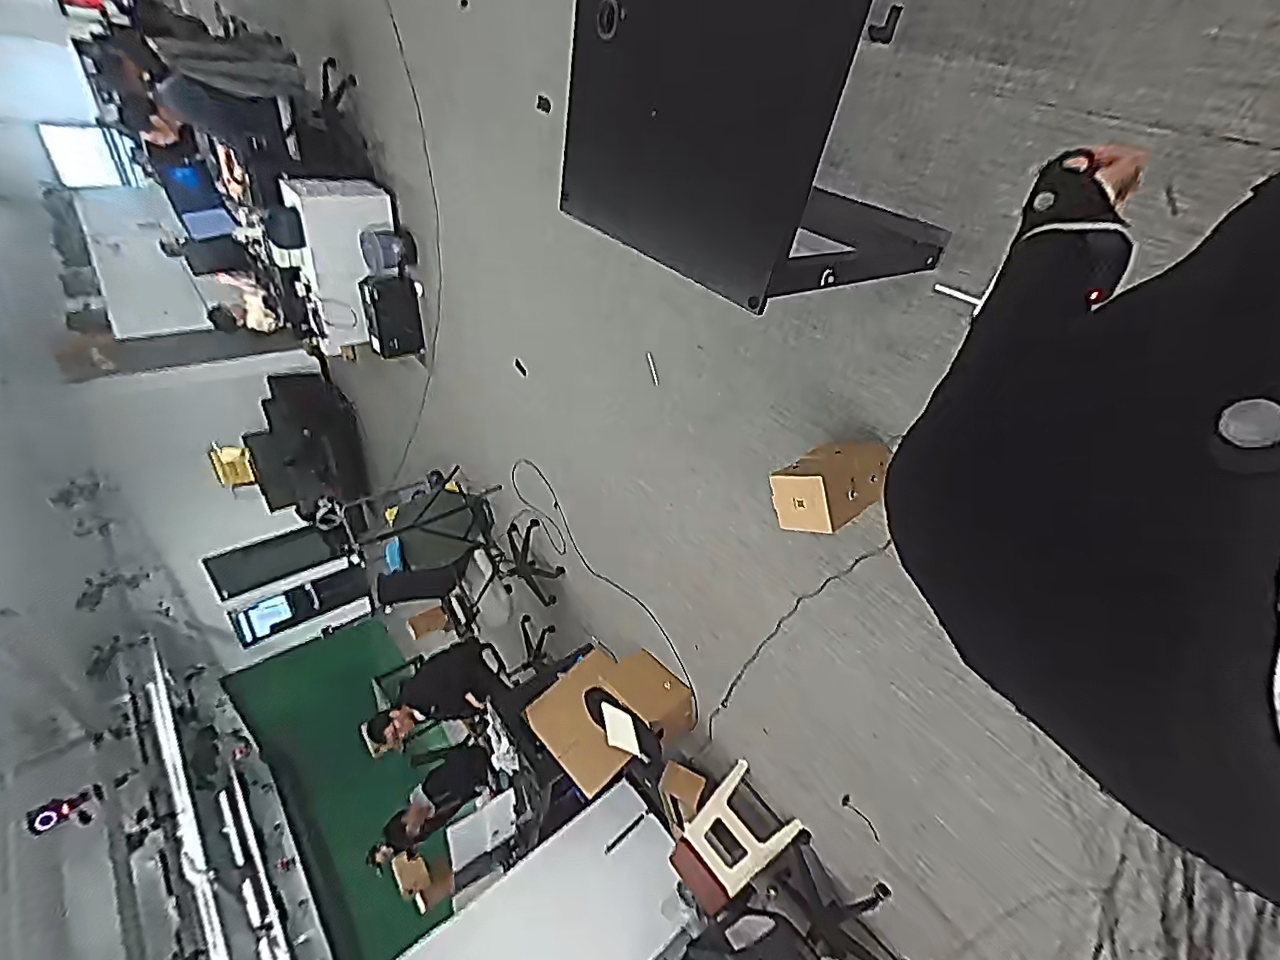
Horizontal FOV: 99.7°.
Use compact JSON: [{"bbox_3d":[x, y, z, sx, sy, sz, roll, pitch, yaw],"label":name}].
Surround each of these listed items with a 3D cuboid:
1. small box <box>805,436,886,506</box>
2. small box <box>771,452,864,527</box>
[{"bbox_3d":[0.629,-0.033,1.638,0.179,0.176,0.168,8,114,51],"label":"small box"},{"bbox_3d":[0.508,0.021,1.543,0.179,0.176,0.168,0,109,51],"label":"small box"}]
